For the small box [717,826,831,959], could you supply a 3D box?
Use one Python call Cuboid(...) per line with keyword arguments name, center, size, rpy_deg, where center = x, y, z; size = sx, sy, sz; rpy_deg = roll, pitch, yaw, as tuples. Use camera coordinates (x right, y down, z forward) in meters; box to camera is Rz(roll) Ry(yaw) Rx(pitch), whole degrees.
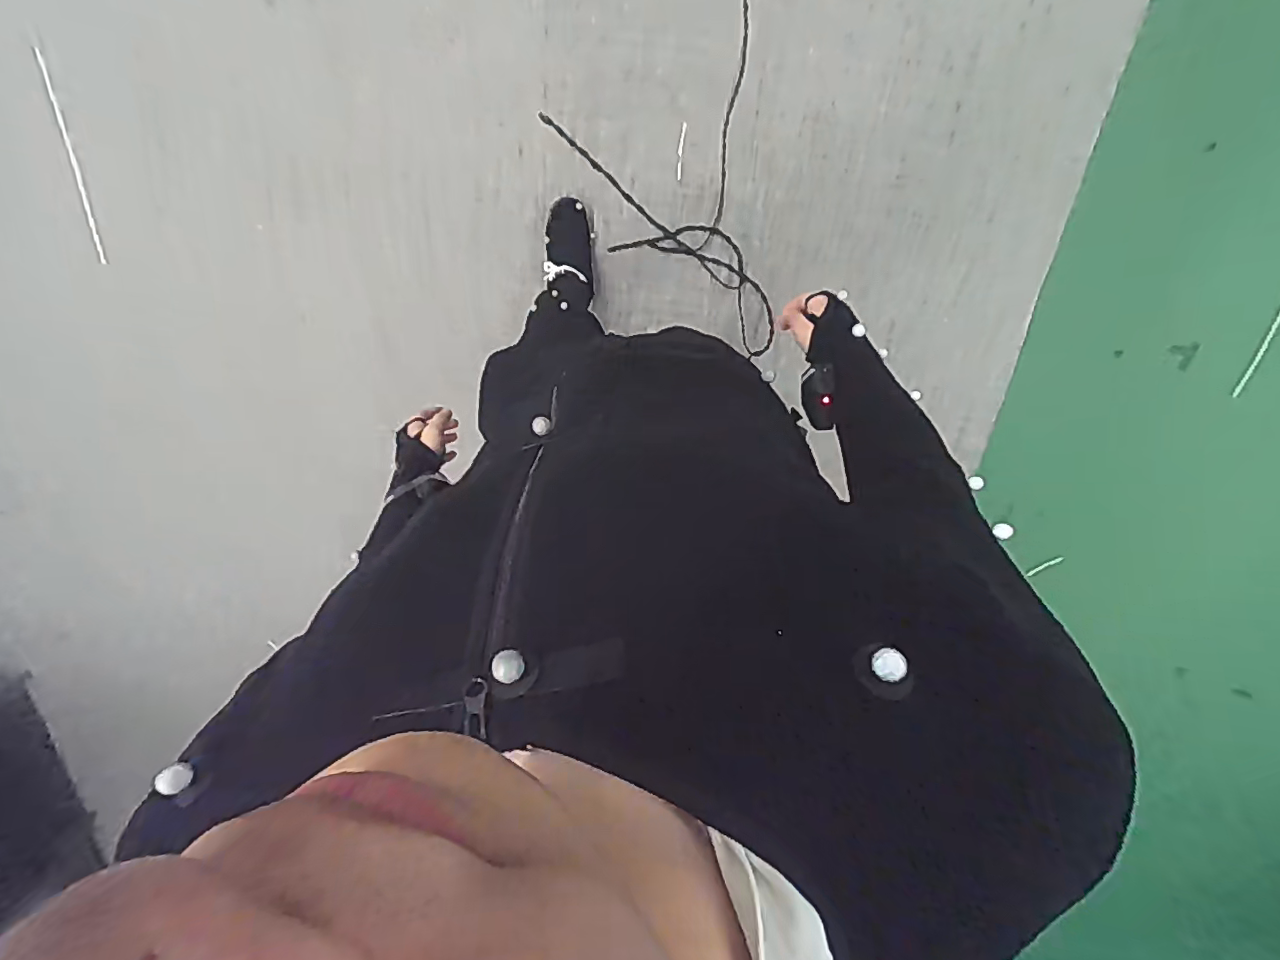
Cuboid(name="small box", center=(0.246, 0.810, 1.043), size=(0.168, 0.176, 0.179), rpy_deg=(6, 115, 0))
